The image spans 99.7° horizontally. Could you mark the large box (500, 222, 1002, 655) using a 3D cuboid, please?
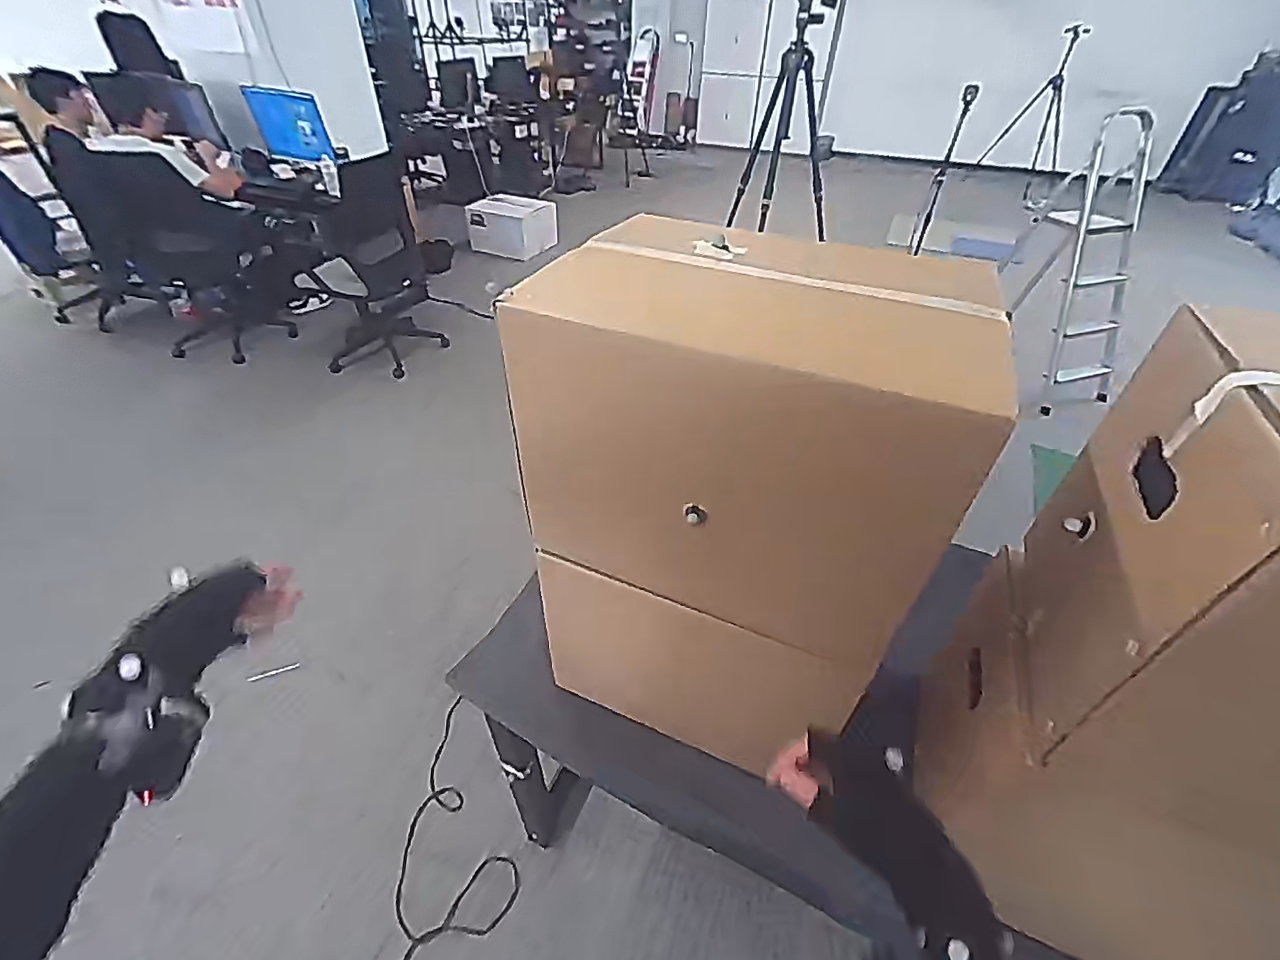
[{"bbox_3d":[0.119,-0.069,0.614,0.408,0.320,0.320,17,42,19],"label":"large box"}]
